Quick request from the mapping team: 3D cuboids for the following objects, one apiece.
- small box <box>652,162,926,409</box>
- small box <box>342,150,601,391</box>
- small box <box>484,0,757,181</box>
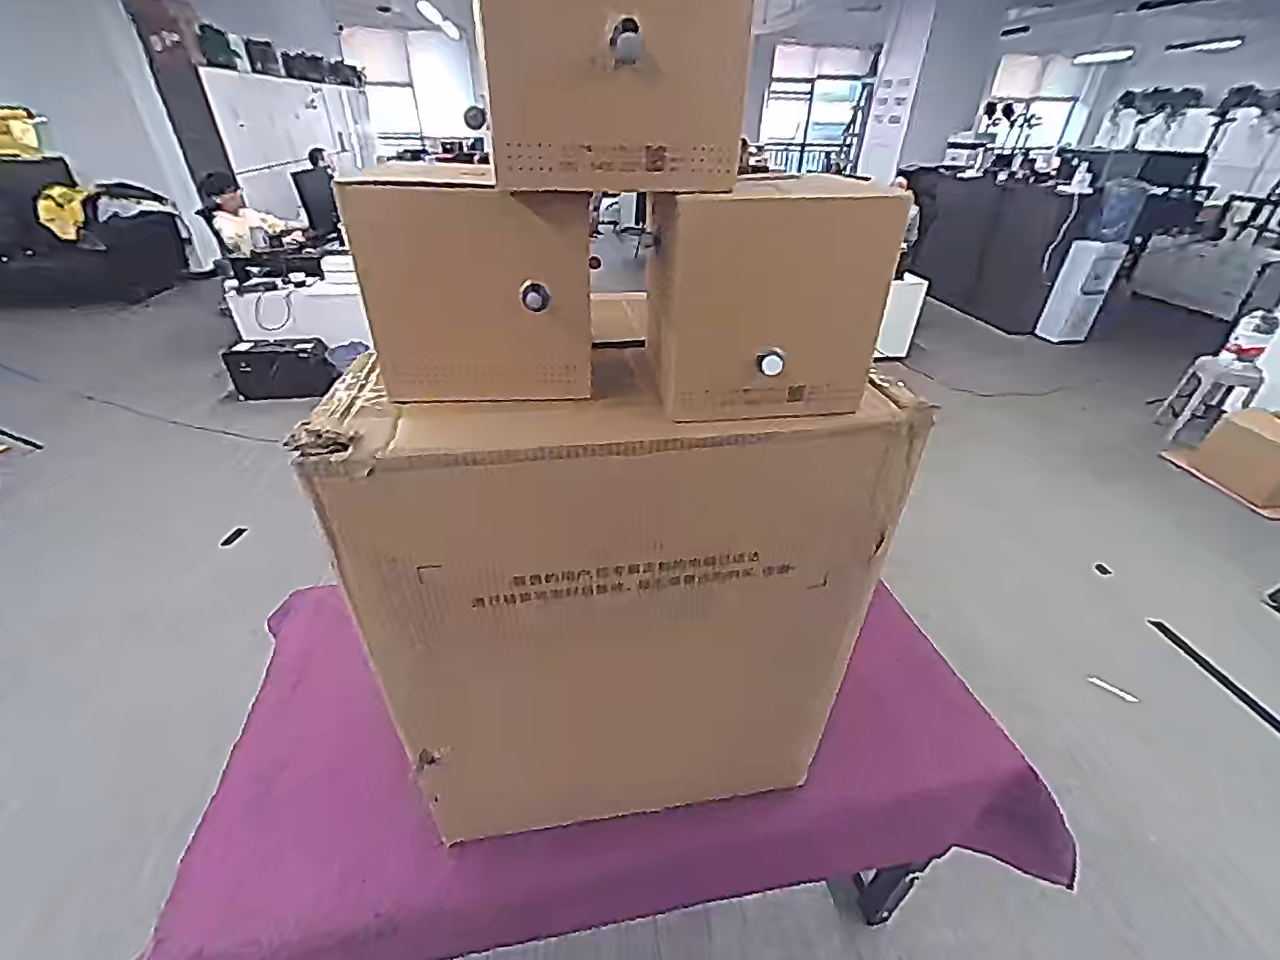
[{"bbox_3d":[0.103,-0.174,0.471,0.168,0.176,0.179,-4,35,-6],"label":"small box"},{"bbox_3d":[-0.127,-0.187,0.481,0.179,0.176,0.168,-3,33,-7],"label":"small box"},{"bbox_3d":[-0.023,-0.314,0.382,0.168,0.176,0.179,-6,35,-13],"label":"small box"}]
